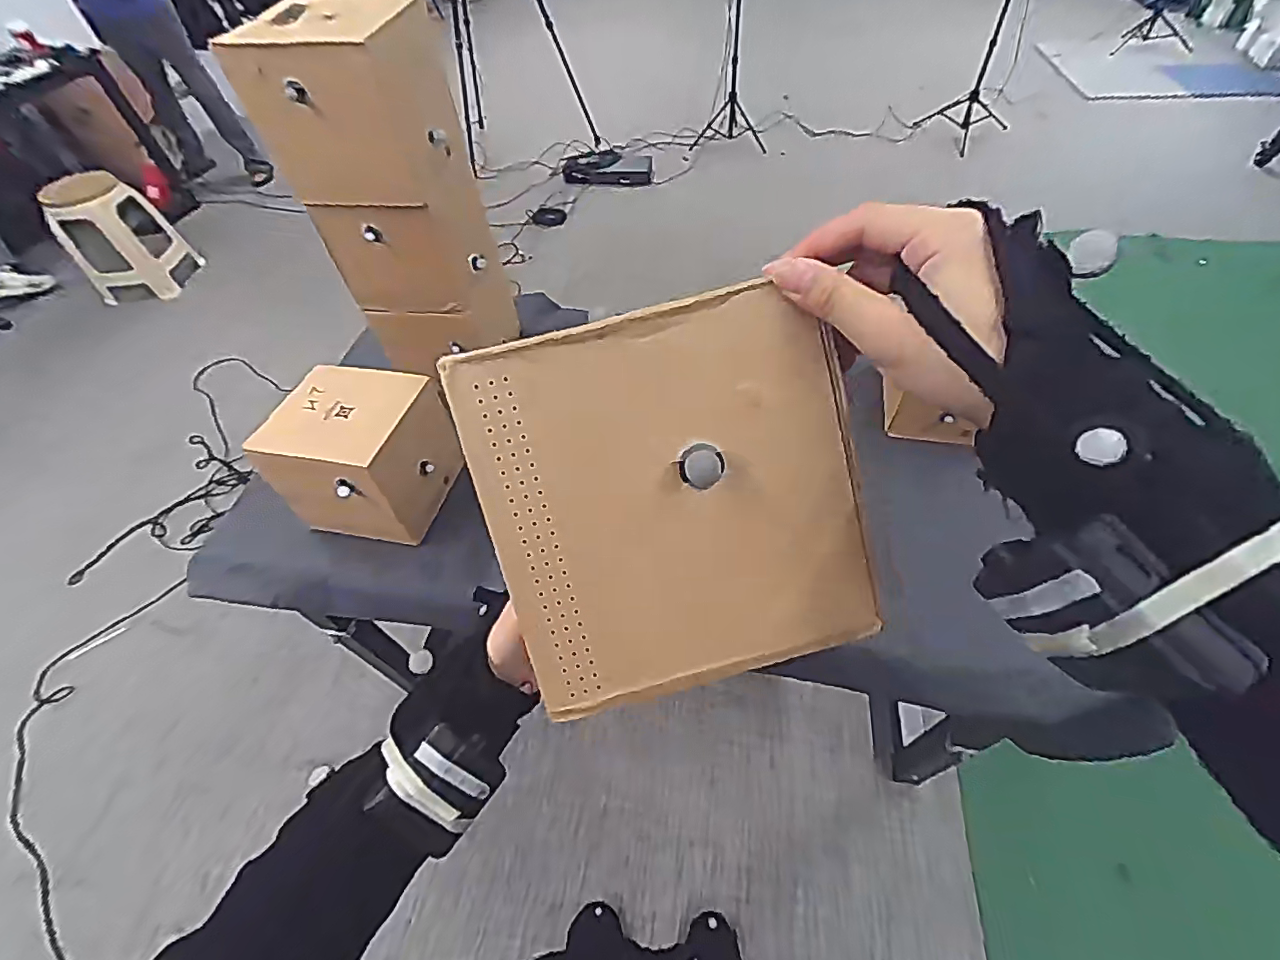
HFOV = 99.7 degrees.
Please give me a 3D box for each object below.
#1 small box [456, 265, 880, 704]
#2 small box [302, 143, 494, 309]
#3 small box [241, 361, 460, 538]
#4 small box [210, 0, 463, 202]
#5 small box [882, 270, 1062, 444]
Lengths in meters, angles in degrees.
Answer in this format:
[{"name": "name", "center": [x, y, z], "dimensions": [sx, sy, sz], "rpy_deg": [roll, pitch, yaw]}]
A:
[{"name": "small box", "center": [0.008, -0.002, 0.321], "dimensions": [0.176, 0.179, 0.168], "rpy_deg": [-15, 10, -2]}, {"name": "small box", "center": [-0.336, -0.369, 0.792], "dimensions": [0.179, 0.176, 0.168], "rpy_deg": [4, 55, 5]}, {"name": "small box", "center": [-0.374, -0.038, 0.742], "dimensions": [0.179, 0.176, 0.168], "rpy_deg": [8, 51, 10]}, {"name": "small box", "center": [-0.343, -0.459, 0.653], "dimensions": [0.179, 0.176, 0.168], "rpy_deg": [5, 55, 7]}, {"name": "small box", "center": [0.463, -0.178, 0.790], "dimensions": [0.168, 0.176, 0.179], "rpy_deg": [8, 55, 10]}]
